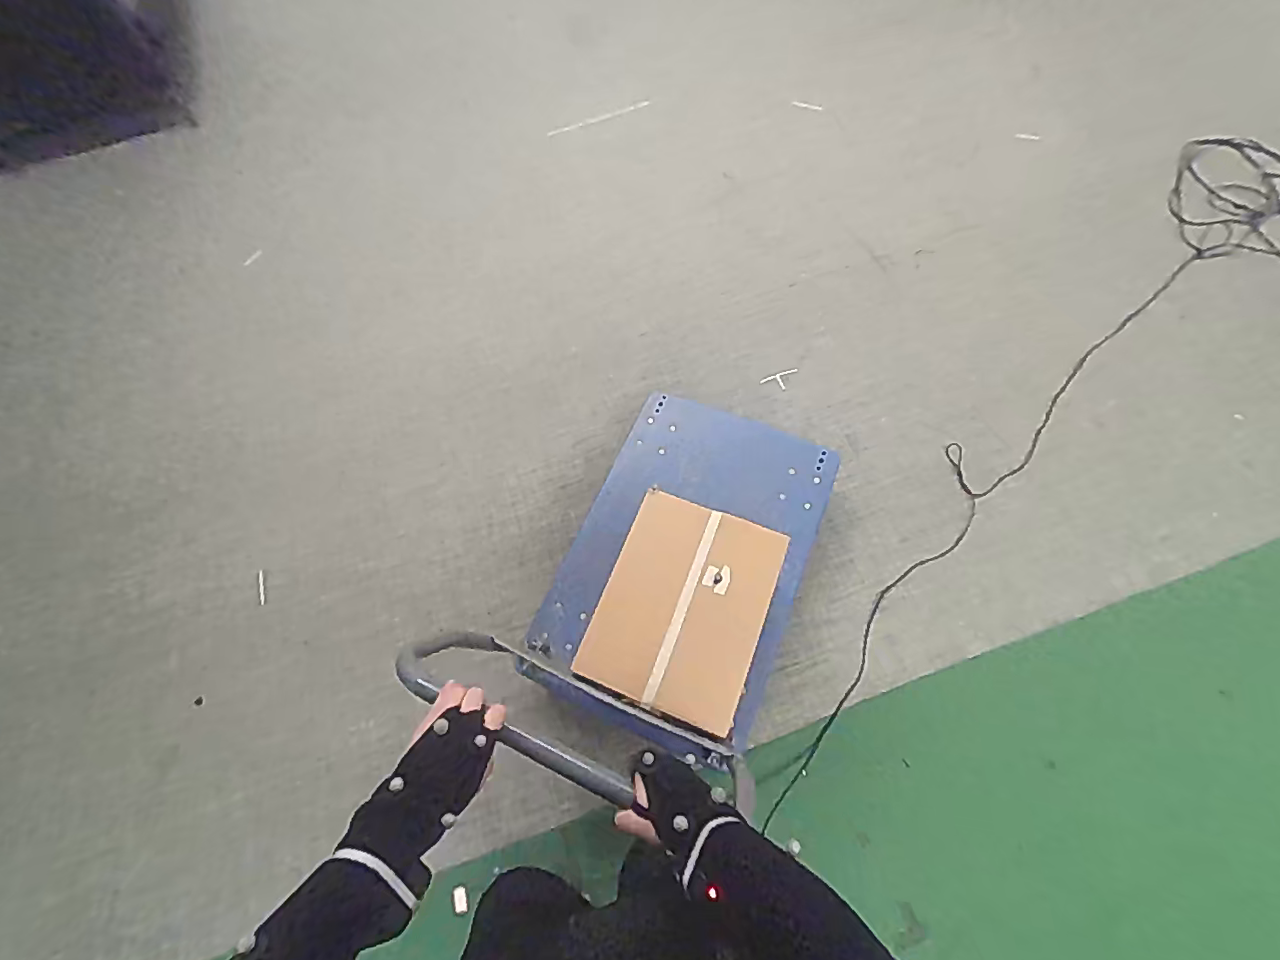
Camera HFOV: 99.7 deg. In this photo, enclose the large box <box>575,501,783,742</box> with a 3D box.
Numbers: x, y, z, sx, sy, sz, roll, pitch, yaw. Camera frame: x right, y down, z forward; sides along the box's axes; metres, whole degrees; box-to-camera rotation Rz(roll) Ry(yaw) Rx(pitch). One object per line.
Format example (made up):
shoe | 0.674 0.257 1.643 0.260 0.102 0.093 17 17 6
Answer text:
large box | 0.095 0.324 1.213 0.320 0.320 0.408 20 68 12
